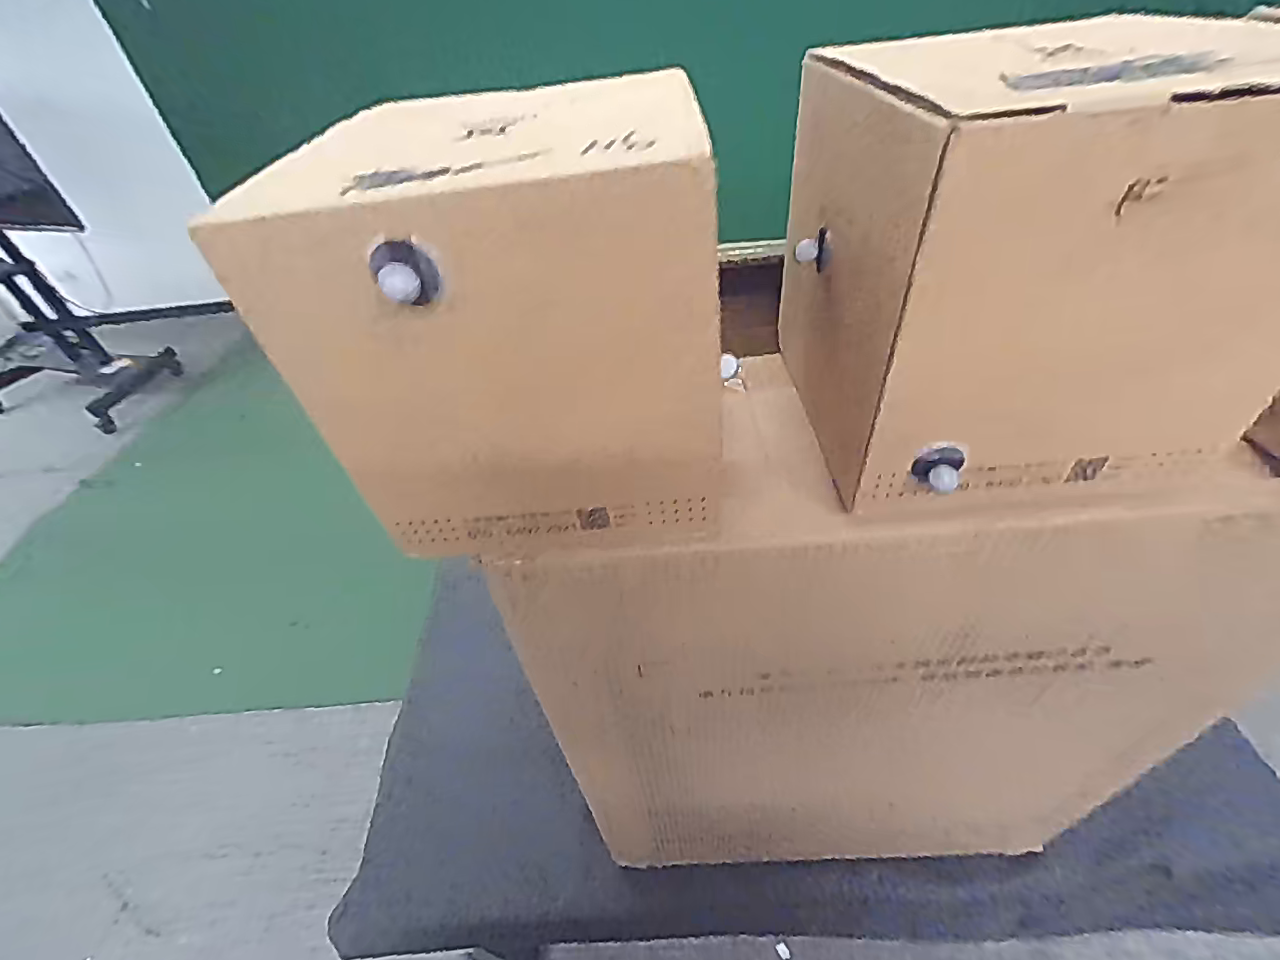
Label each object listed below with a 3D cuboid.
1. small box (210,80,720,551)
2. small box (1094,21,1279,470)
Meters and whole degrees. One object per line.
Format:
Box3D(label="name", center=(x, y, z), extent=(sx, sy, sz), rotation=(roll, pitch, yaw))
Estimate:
Box3D(label="small box", center=(-0.049, -0.085, 0.282), extent=(0.168, 0.176, 0.179), rotation=(-5, 42, 6))
Box3D(label="small box", center=(0.386, -0.116, 0.265), extent=(0.168, 0.176, 0.179), rotation=(-4, 44, 3))
